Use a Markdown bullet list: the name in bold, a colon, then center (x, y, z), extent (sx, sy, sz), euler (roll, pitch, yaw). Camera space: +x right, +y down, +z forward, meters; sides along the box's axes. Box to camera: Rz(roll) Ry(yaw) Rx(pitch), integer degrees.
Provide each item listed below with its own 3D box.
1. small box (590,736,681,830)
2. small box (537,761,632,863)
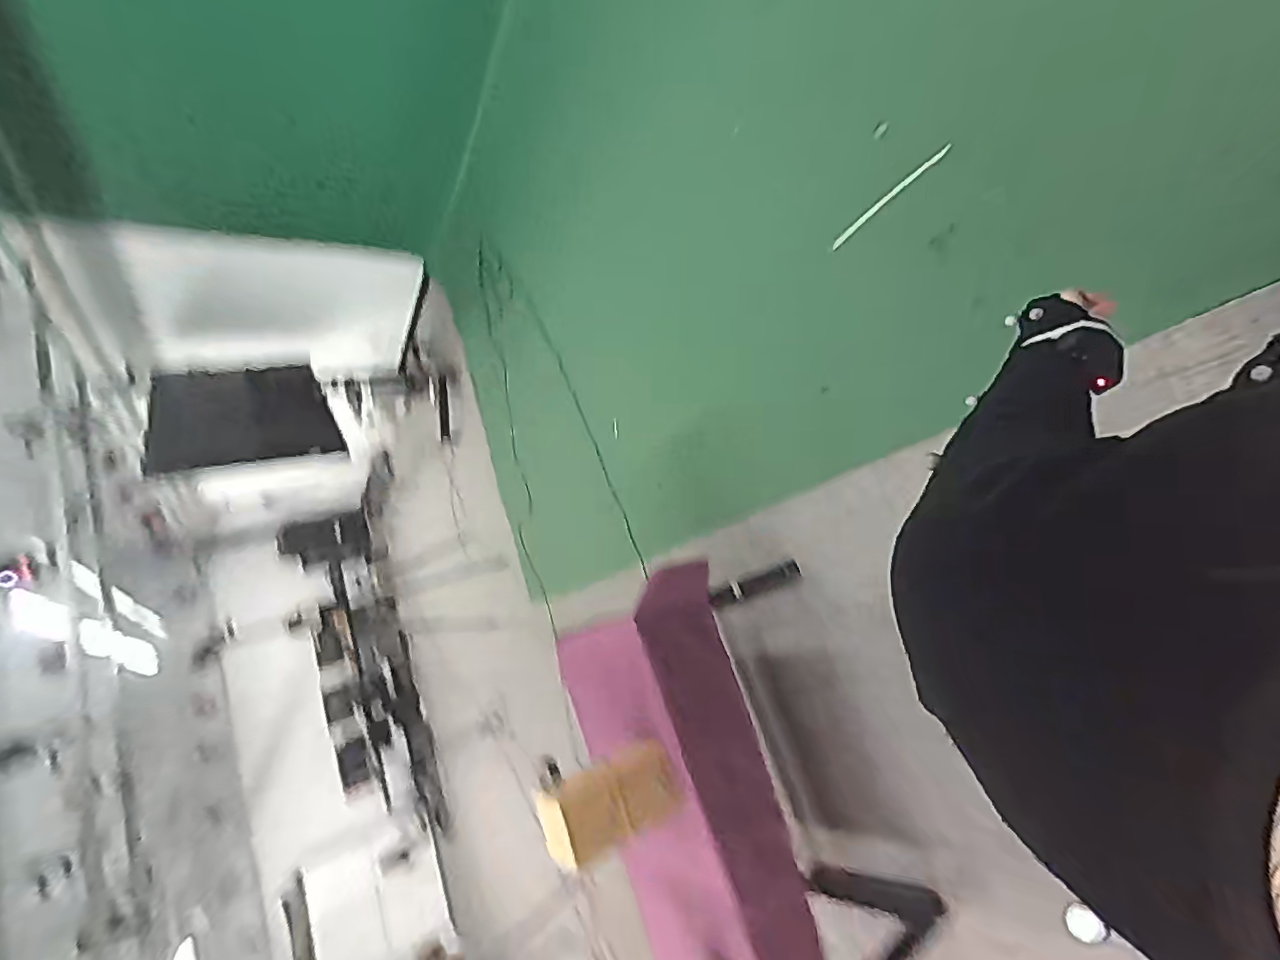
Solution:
- **small box**: center (-0.013, 0.838, 1.515), extent (0.179, 0.176, 0.168), euler (-33, 72, 53)
- **small box**: center (-0.146, 0.860, 1.423), extent (0.179, 0.176, 0.168), euler (-33, 72, 52)
